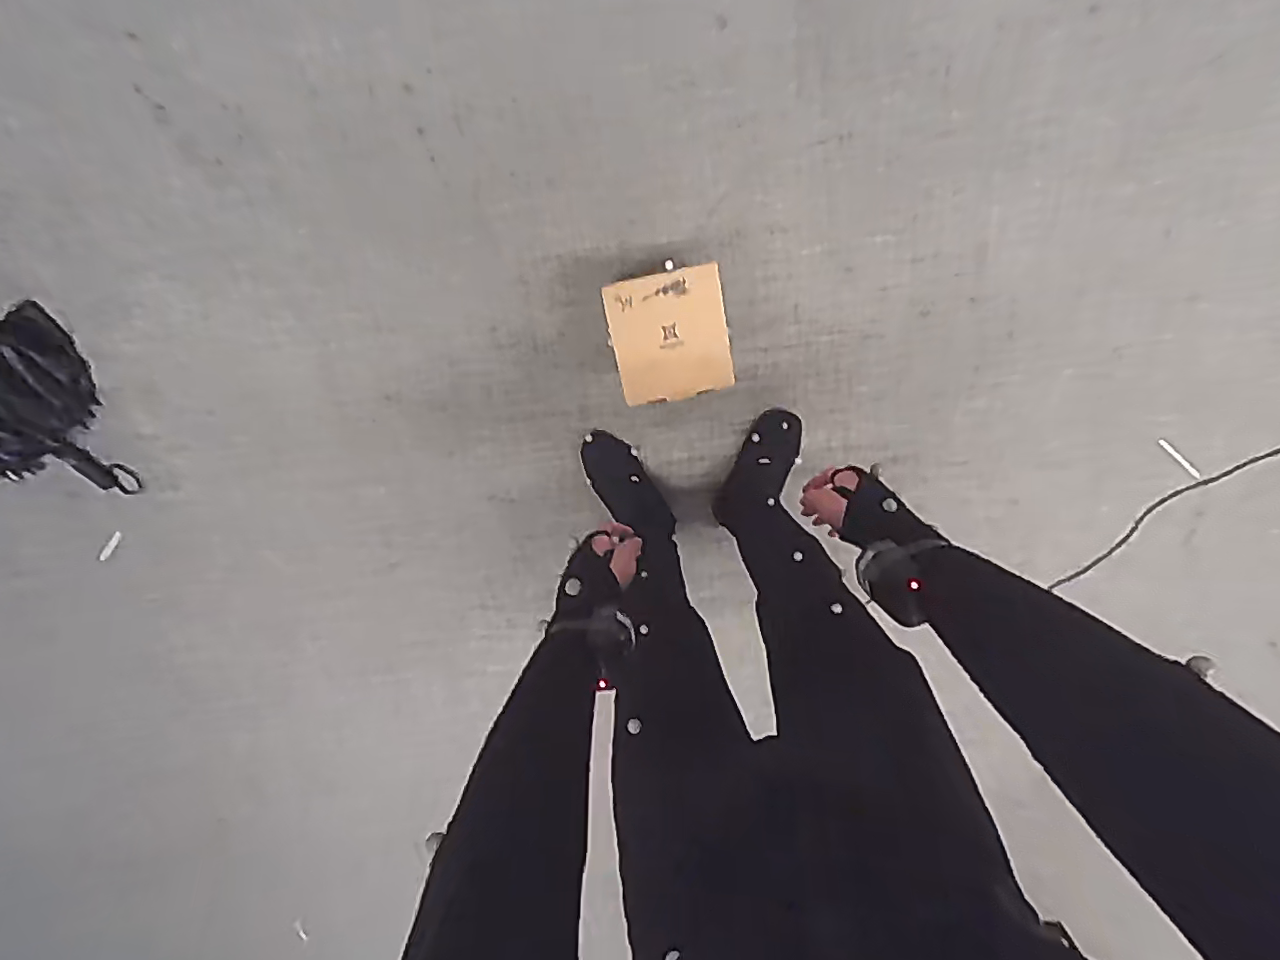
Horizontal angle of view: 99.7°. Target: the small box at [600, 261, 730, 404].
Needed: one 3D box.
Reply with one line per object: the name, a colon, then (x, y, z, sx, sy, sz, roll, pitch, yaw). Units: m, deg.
small box: (0.041, -0.235, 0.843, 0.168, 0.176, 0.179, -10, 112, 5)
